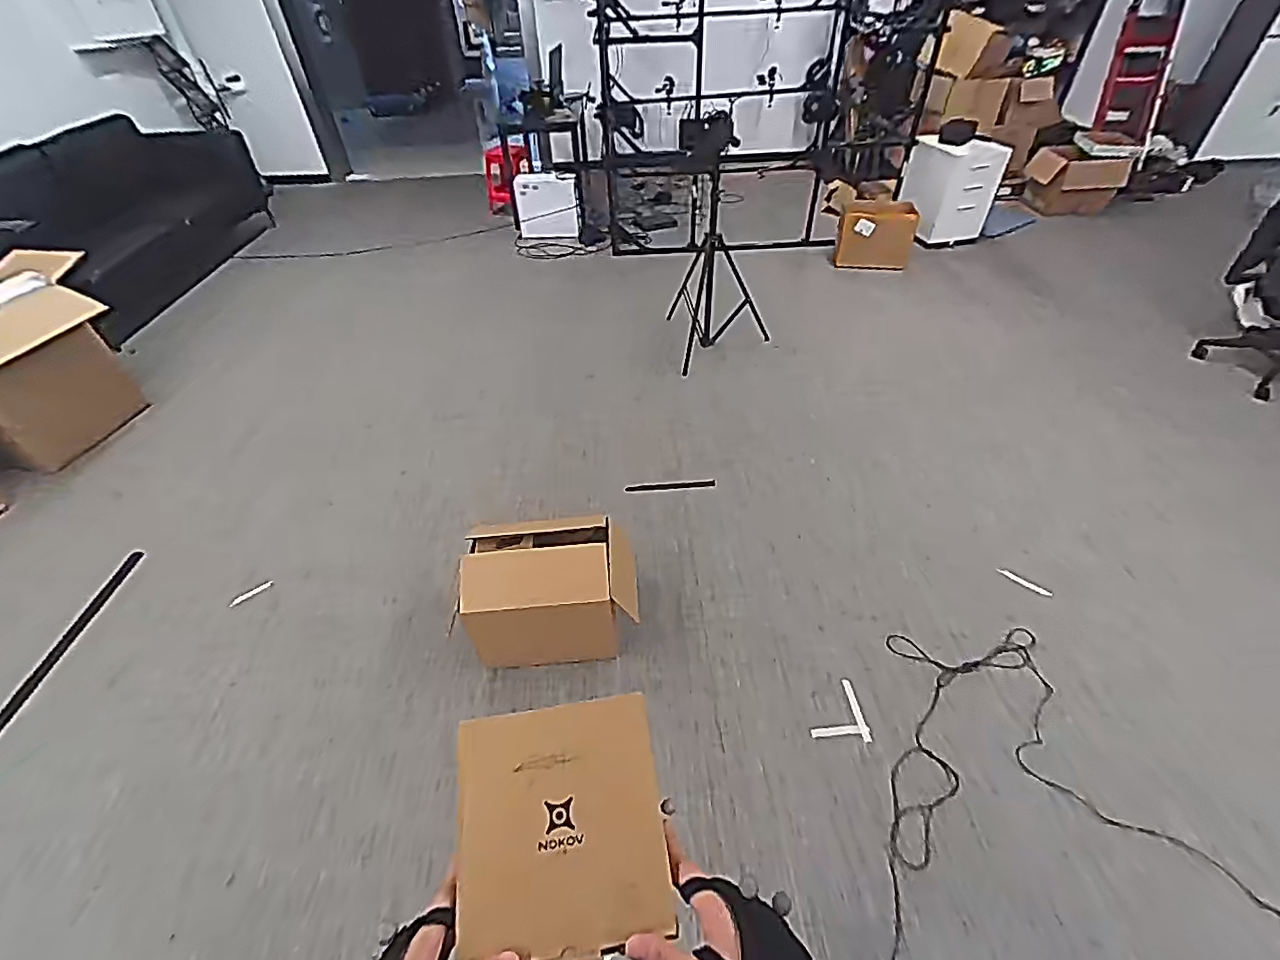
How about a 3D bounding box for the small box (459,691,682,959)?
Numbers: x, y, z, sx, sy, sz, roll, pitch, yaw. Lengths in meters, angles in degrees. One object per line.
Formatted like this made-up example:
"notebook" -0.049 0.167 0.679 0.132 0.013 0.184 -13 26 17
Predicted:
"small box" -0.061 0.311 0.498 0.168 0.176 0.179 -8 59 -6
